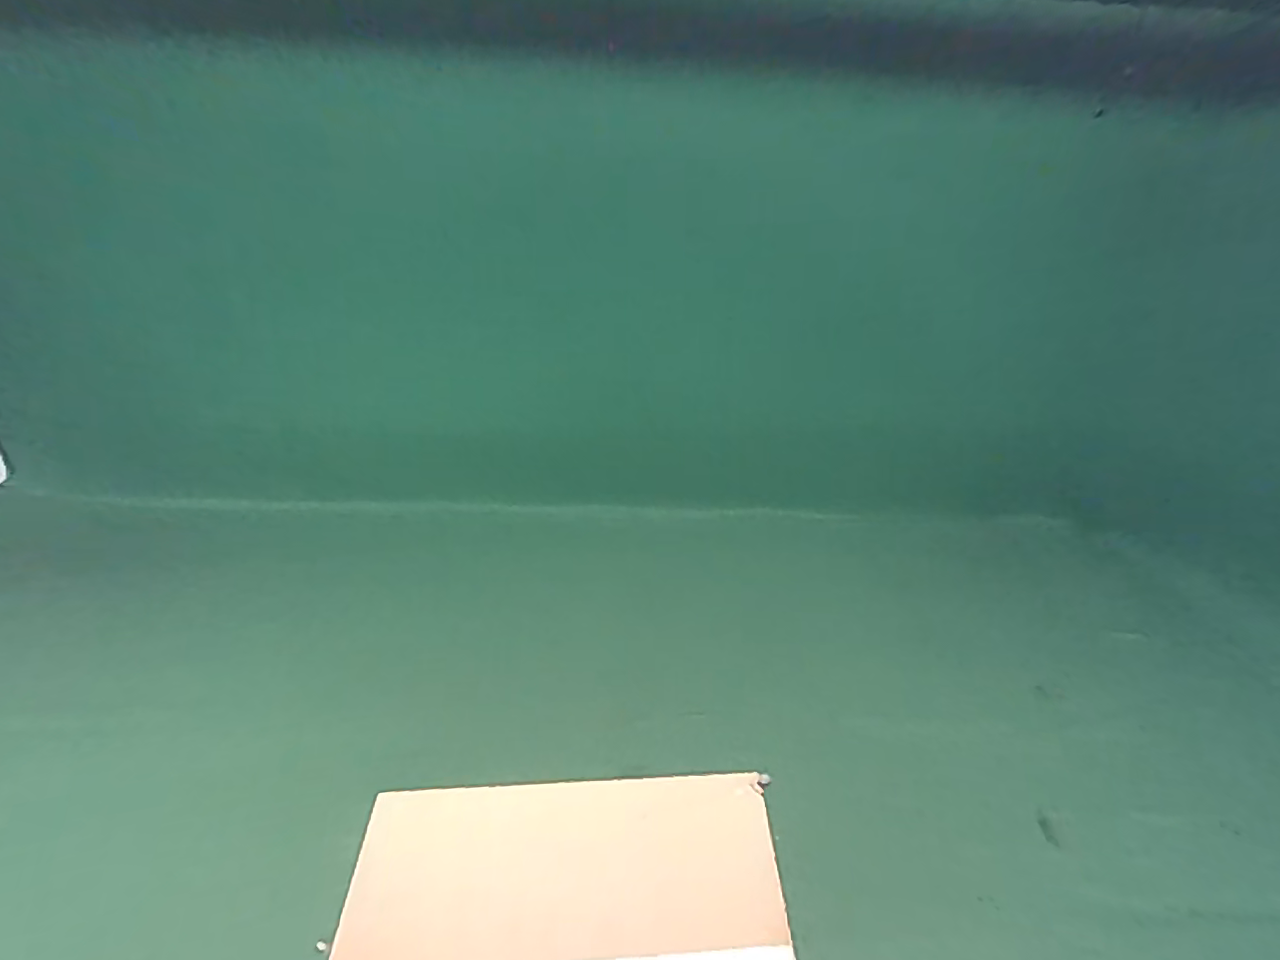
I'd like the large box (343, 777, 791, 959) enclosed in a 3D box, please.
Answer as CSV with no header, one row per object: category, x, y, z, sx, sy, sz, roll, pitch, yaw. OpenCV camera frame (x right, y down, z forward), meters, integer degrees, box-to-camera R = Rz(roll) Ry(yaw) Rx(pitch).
large box,-0.068,0.547,0.564,0.408,0.320,0.320,-1,41,-4
